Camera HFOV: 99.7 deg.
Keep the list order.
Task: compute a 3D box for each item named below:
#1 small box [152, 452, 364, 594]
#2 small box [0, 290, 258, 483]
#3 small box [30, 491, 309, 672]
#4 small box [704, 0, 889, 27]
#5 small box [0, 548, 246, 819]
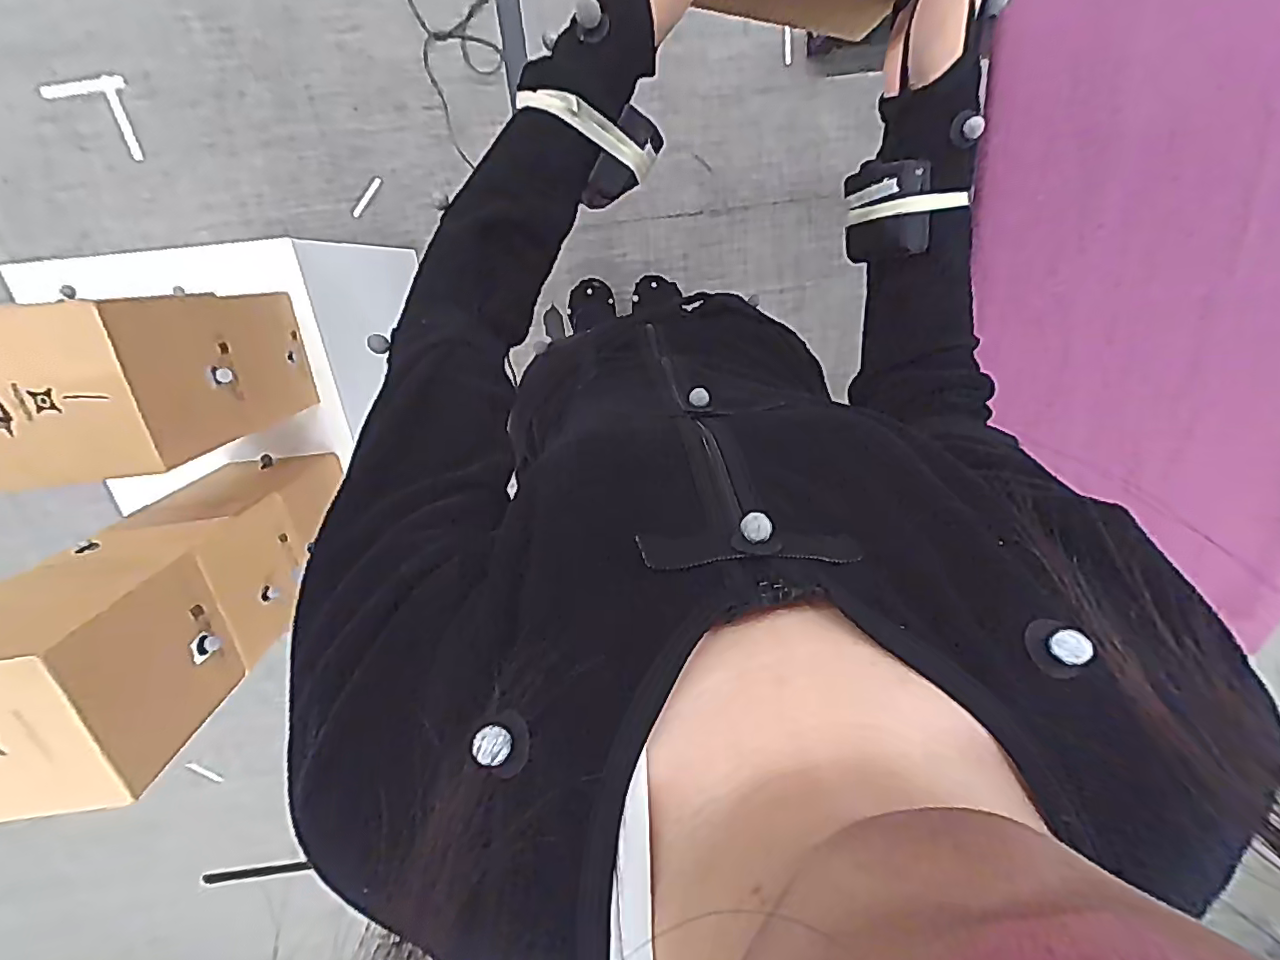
[{"bbox_3d":[-0.555,0.064,0.814,0.179,0.176,0.168,-6,112,-1],"label":"small box"},{"bbox_3d":[-0.557,-0.107,0.568,0.179,0.176,0.168,-5,113,-3],"label":"small box"},{"bbox_3d":[-0.542,0.123,0.662,0.179,0.176,0.168,-7,112,-1],"label":"small box"},{"bbox_3d":[0.120,-0.430,0.346,0.179,0.176,0.168,8,112,-4],"label":"small box"},{"bbox_3d":[-0.533,0.182,0.511,0.179,0.176,0.168,-8,113,-1],"label":"small box"}]
